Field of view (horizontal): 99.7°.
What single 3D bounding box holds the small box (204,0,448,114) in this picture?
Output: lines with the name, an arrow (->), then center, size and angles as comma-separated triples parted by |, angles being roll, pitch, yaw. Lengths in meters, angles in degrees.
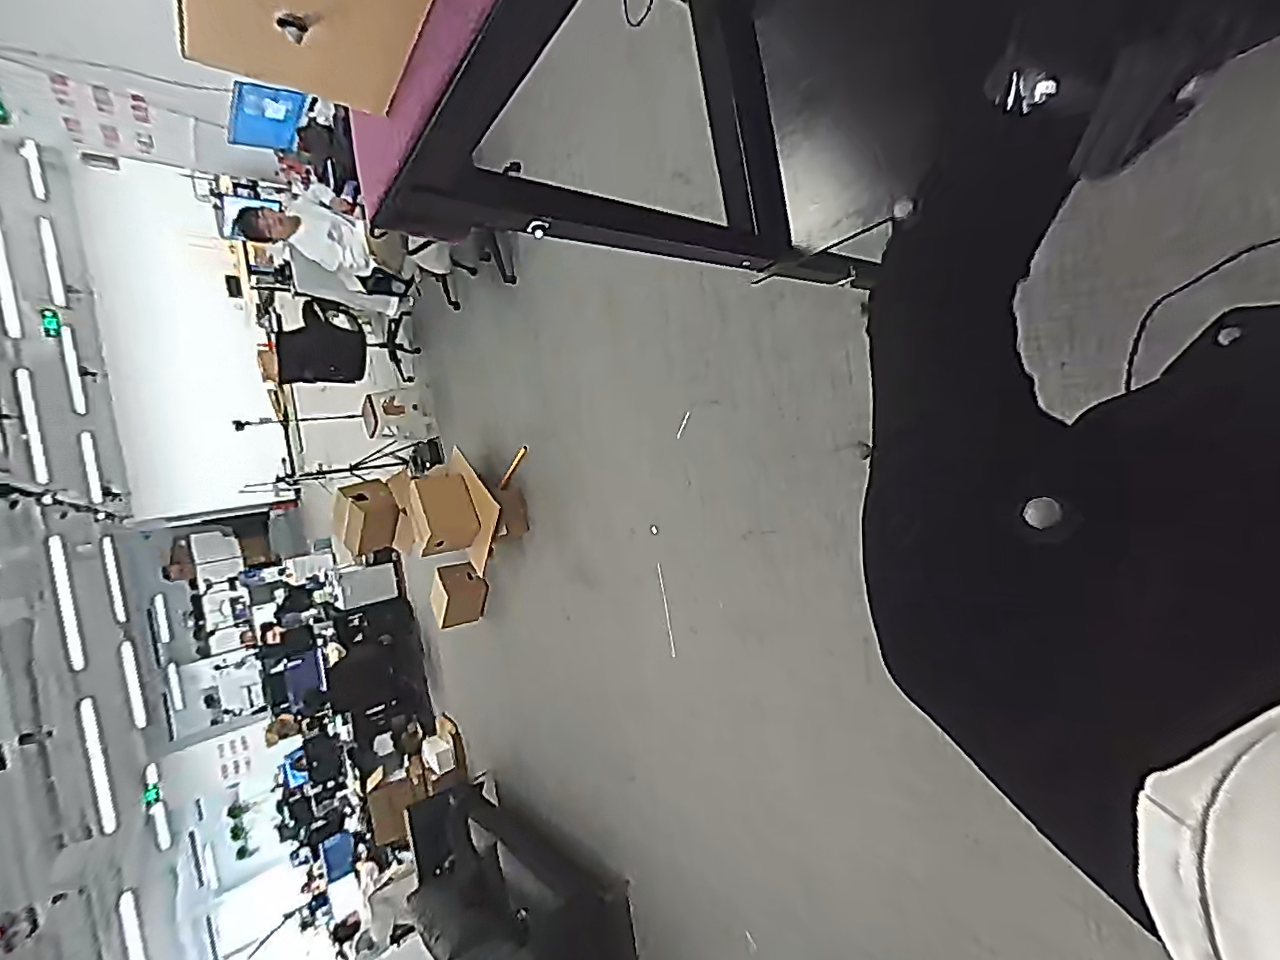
small box -> -0.278, -0.467, 0.468 | 0.179, 0.176, 0.168 | -11, 89, 52
